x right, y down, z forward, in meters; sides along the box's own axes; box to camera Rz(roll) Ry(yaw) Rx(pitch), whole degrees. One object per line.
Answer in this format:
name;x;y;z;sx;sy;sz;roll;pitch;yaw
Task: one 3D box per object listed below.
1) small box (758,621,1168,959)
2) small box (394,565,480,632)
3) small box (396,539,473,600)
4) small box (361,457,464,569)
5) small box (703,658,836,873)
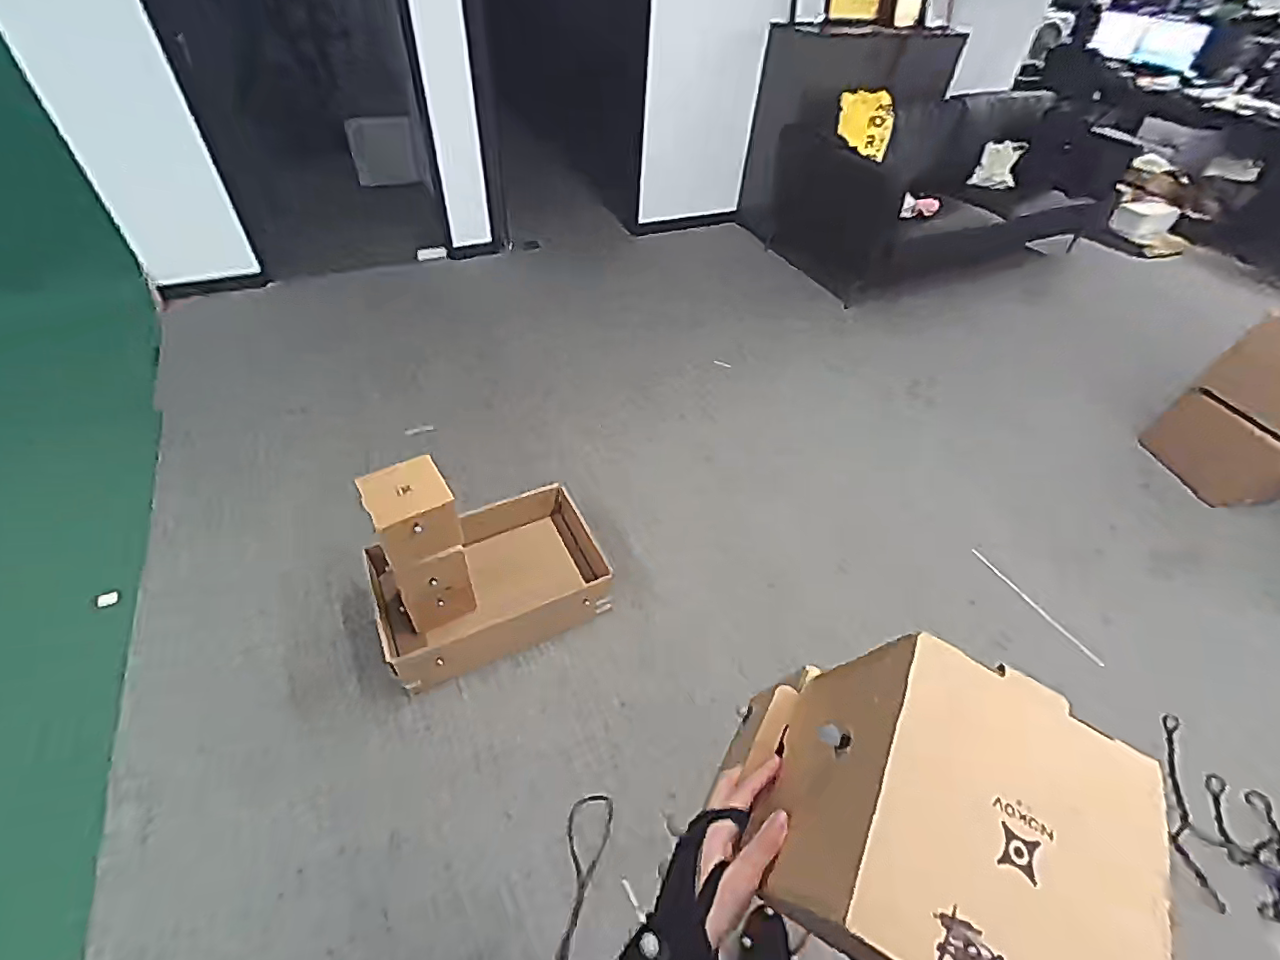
small box;0.203;0.233;0.375;0.168;0.176;0.179;29;59;8
small box;-0.570;0.300;1.528;0.179;0.176;0.168;-20;53;-25
small box;-0.545;0.191;1.409;0.168;0.176;0.179;-17;52;-22
small box;-0.534;0.079;1.291;0.179;0.176;0.168;-24;55;-26
small box;0.183;0.307;0.522;0.179;0.176;0.168;31;59;9
